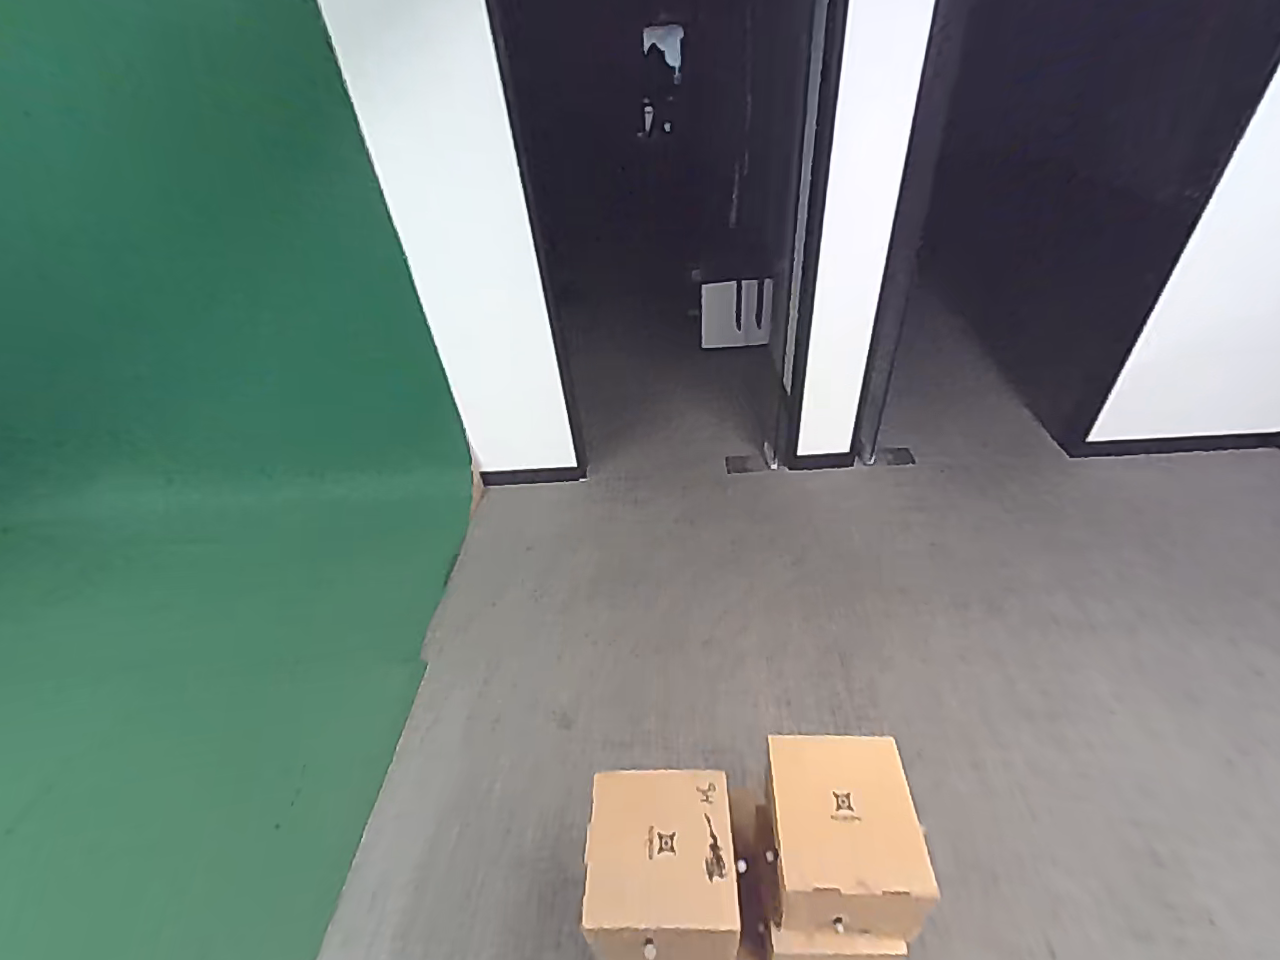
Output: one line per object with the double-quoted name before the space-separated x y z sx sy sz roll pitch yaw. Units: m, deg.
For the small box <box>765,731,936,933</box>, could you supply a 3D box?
"small box" 0.258 0.460 0.714 0.168 0.176 0.179 -2 38 7
